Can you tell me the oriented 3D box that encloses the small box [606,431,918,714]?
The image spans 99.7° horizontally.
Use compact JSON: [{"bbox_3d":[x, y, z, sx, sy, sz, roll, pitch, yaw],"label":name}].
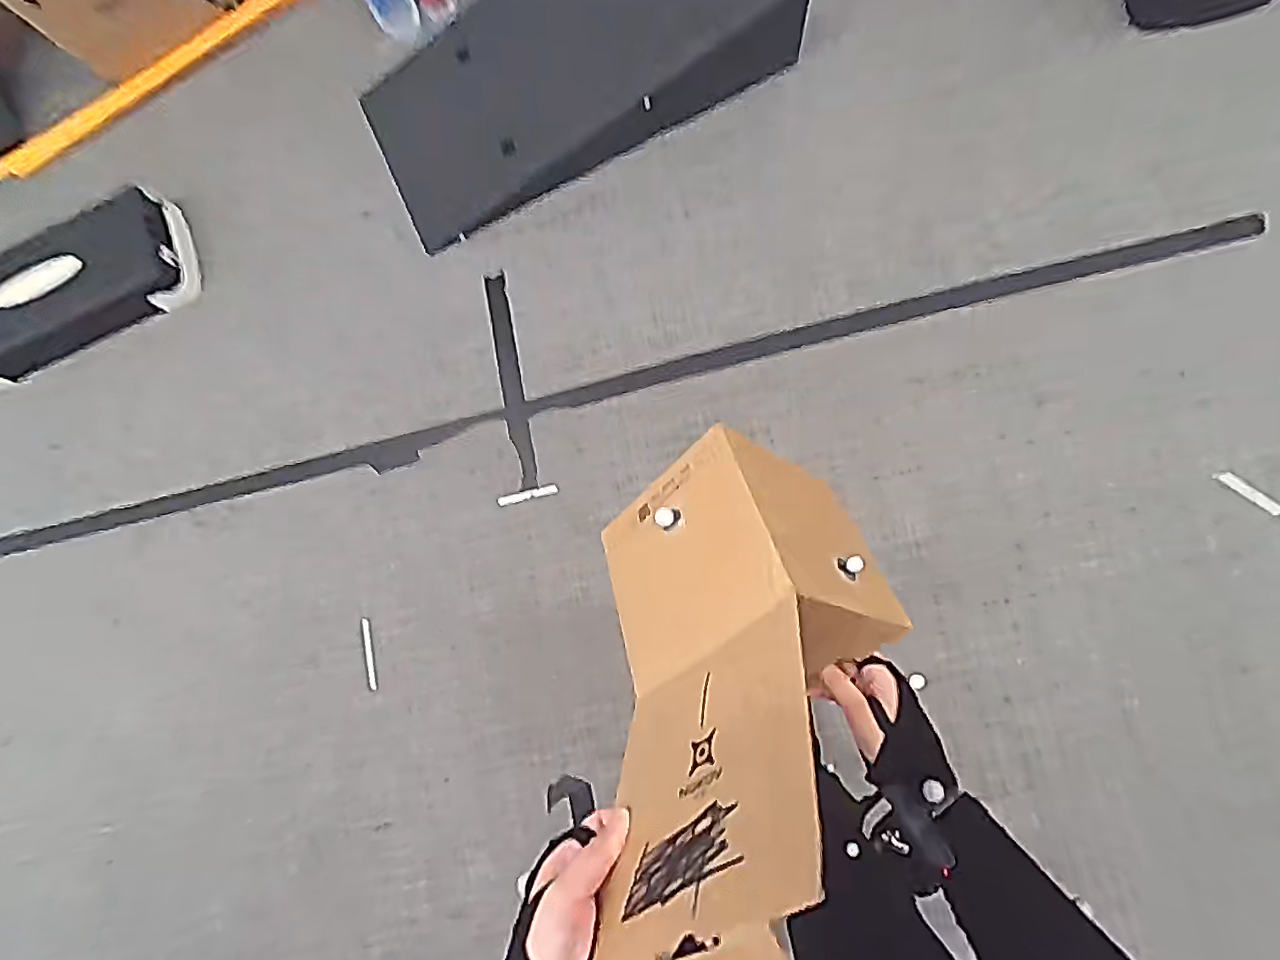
[{"bbox_3d":[0.094,0.084,0.473,0.168,0.179,0.176,-45,41,28],"label":"small box"}]
